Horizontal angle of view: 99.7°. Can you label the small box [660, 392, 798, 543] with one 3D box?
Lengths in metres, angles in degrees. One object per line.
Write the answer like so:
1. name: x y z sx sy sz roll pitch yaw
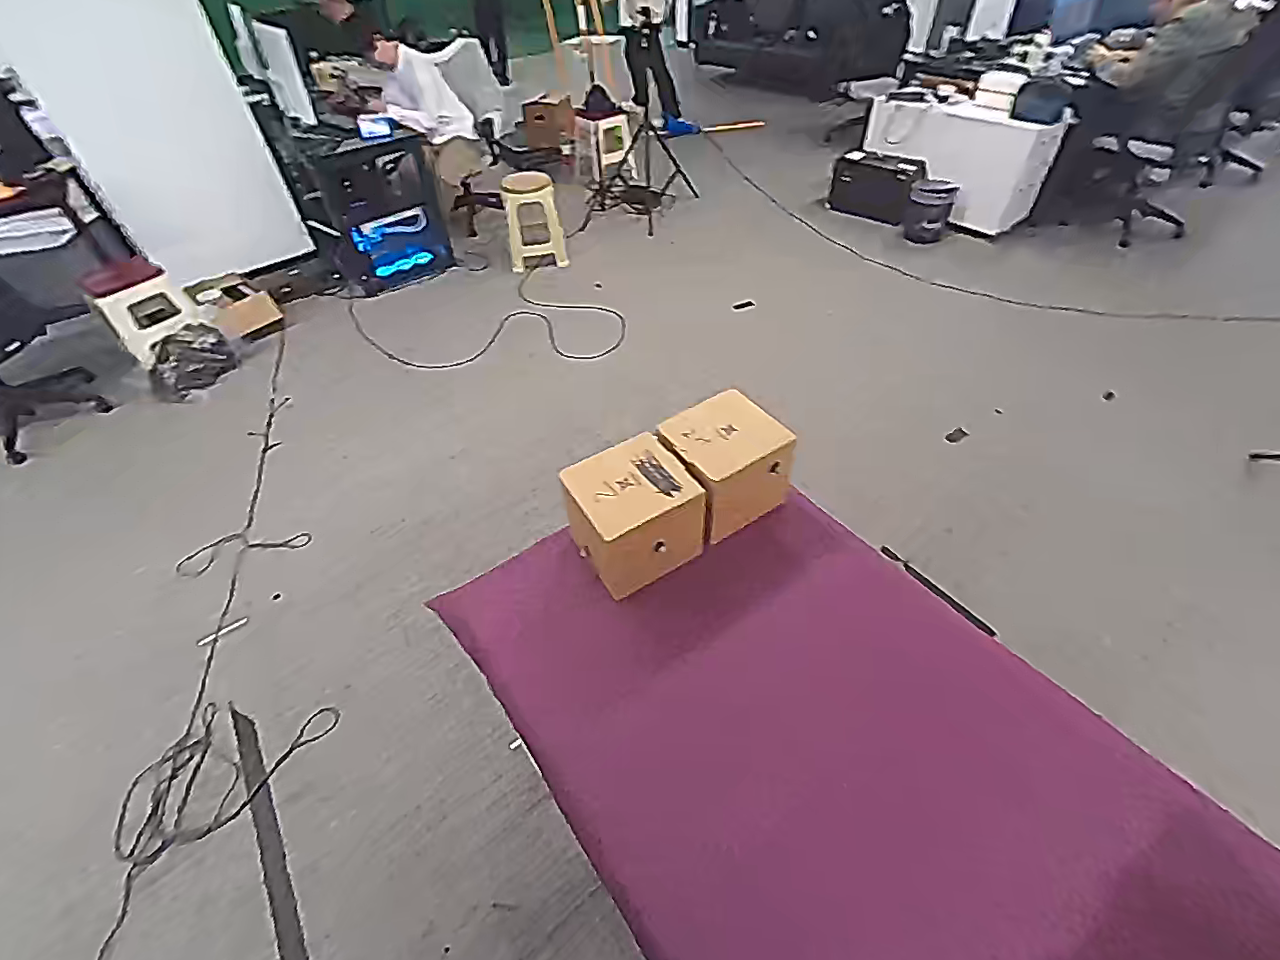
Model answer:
1. small box: 0.150 -0.022 0.964 0.179 0.176 0.168 -27 51 -20
